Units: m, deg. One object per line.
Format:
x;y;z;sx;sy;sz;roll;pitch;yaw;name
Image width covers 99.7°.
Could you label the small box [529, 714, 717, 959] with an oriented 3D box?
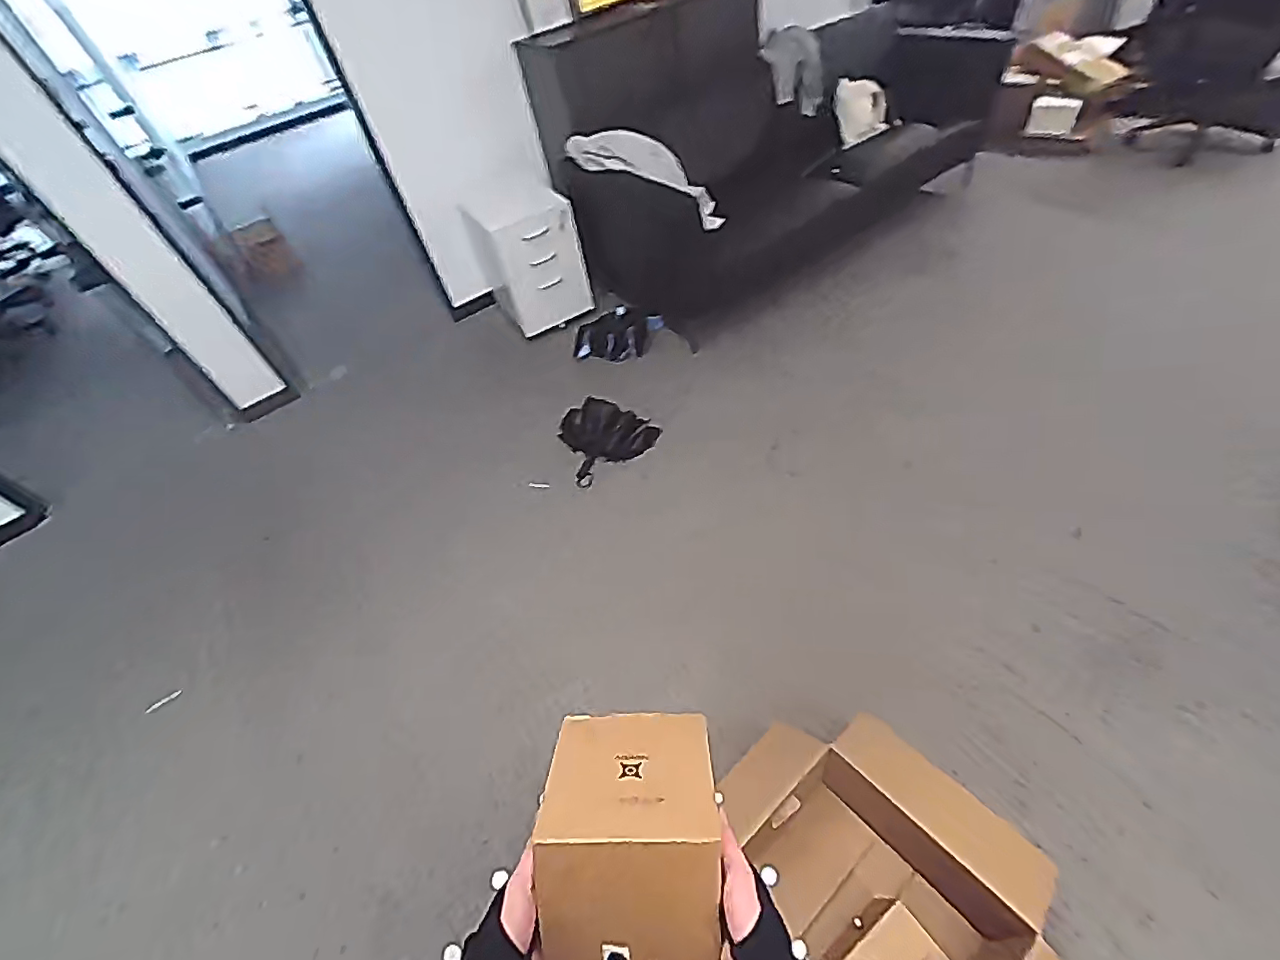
-0.011;0.370;0.561;0.168;0.176;0.179;-2;13;2;small box
